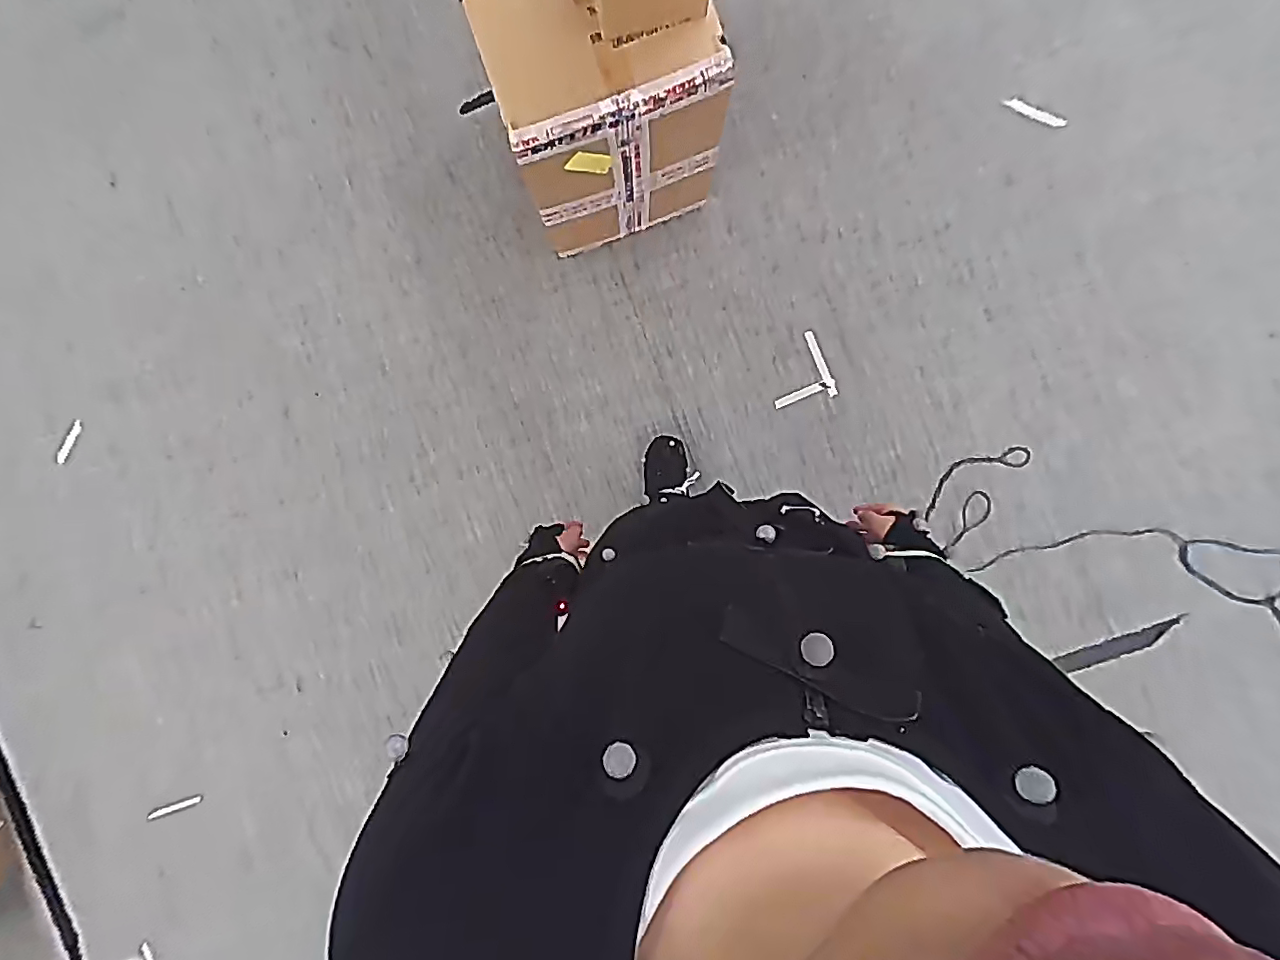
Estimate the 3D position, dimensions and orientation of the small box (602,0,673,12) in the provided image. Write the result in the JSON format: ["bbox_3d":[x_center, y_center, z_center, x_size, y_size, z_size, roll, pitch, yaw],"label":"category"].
[{"bbox_3d":[0.008,-0.836,0.784,0.179,0.176,0.168,-14,93,1],"label":"small box"}]
